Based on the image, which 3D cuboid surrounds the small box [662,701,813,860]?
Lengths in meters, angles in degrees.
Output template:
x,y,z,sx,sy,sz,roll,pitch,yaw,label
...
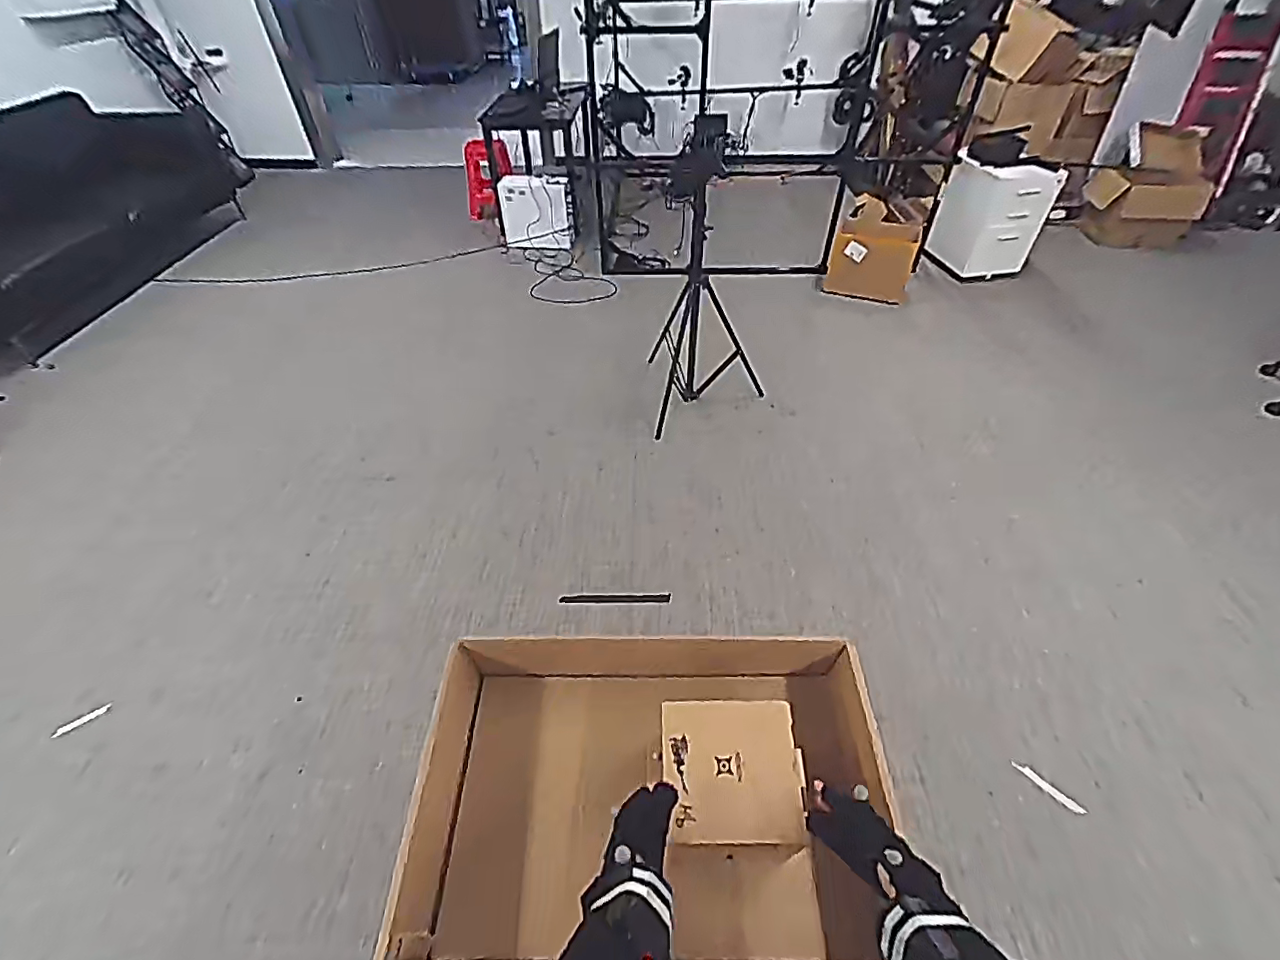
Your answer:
x,y,z,sx,sy,sz,roll,pitch,yaw,label
0.120,0.416,0.748,0.179,0.176,0.168,-1,50,2,small box
